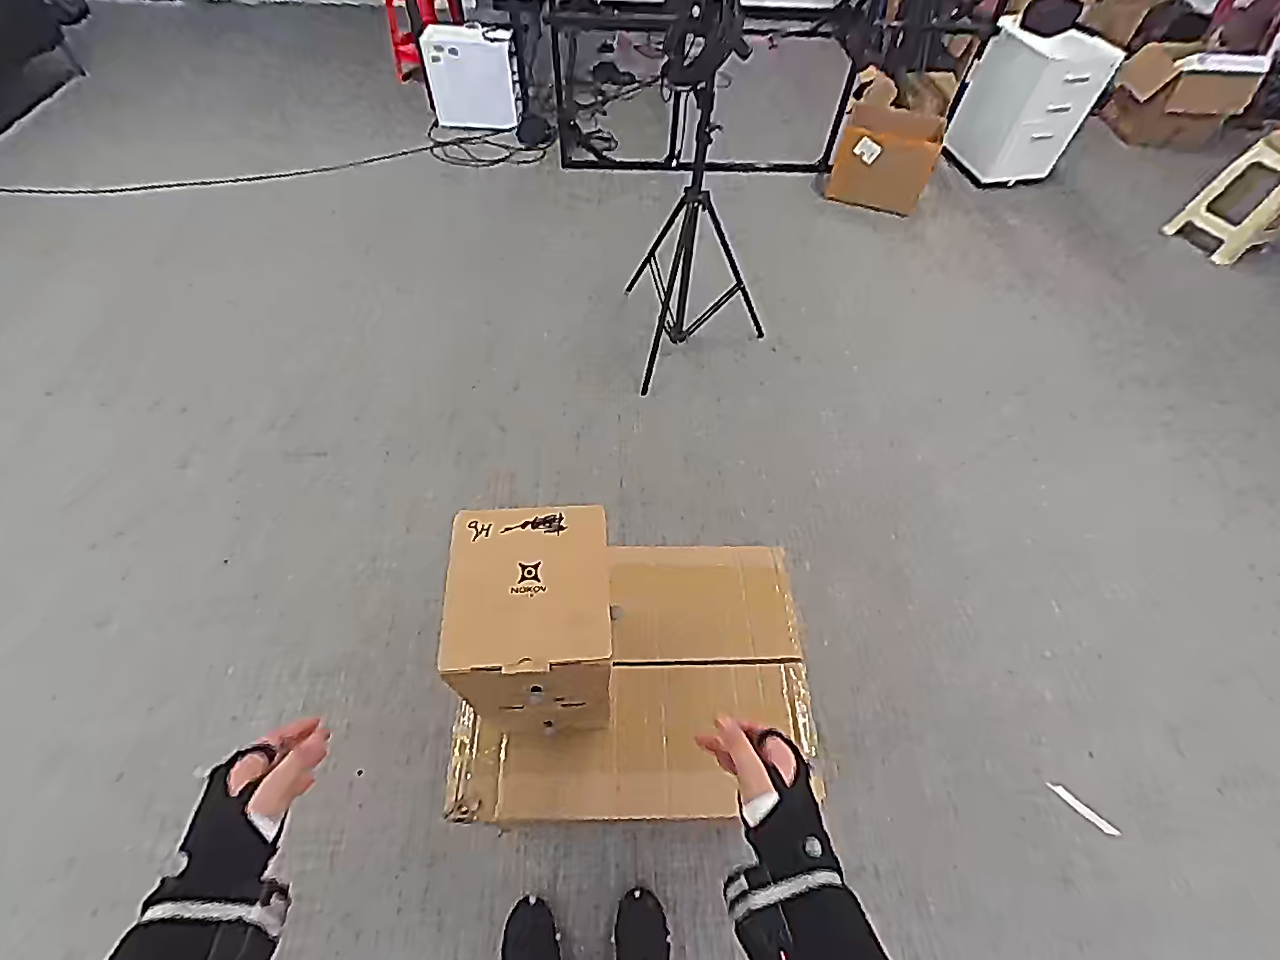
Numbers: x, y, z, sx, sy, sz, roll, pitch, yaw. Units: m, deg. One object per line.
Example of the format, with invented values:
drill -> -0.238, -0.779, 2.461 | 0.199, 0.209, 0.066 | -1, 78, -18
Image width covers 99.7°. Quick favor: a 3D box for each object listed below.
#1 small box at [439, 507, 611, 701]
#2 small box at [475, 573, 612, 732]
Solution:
small box -> -0.119, 0.150, 0.625 | 0.168, 0.176, 0.179 | -2, 57, -5
small box -> -0.125, 0.243, 0.760 | 0.168, 0.176, 0.179 | -1, 57, -4
